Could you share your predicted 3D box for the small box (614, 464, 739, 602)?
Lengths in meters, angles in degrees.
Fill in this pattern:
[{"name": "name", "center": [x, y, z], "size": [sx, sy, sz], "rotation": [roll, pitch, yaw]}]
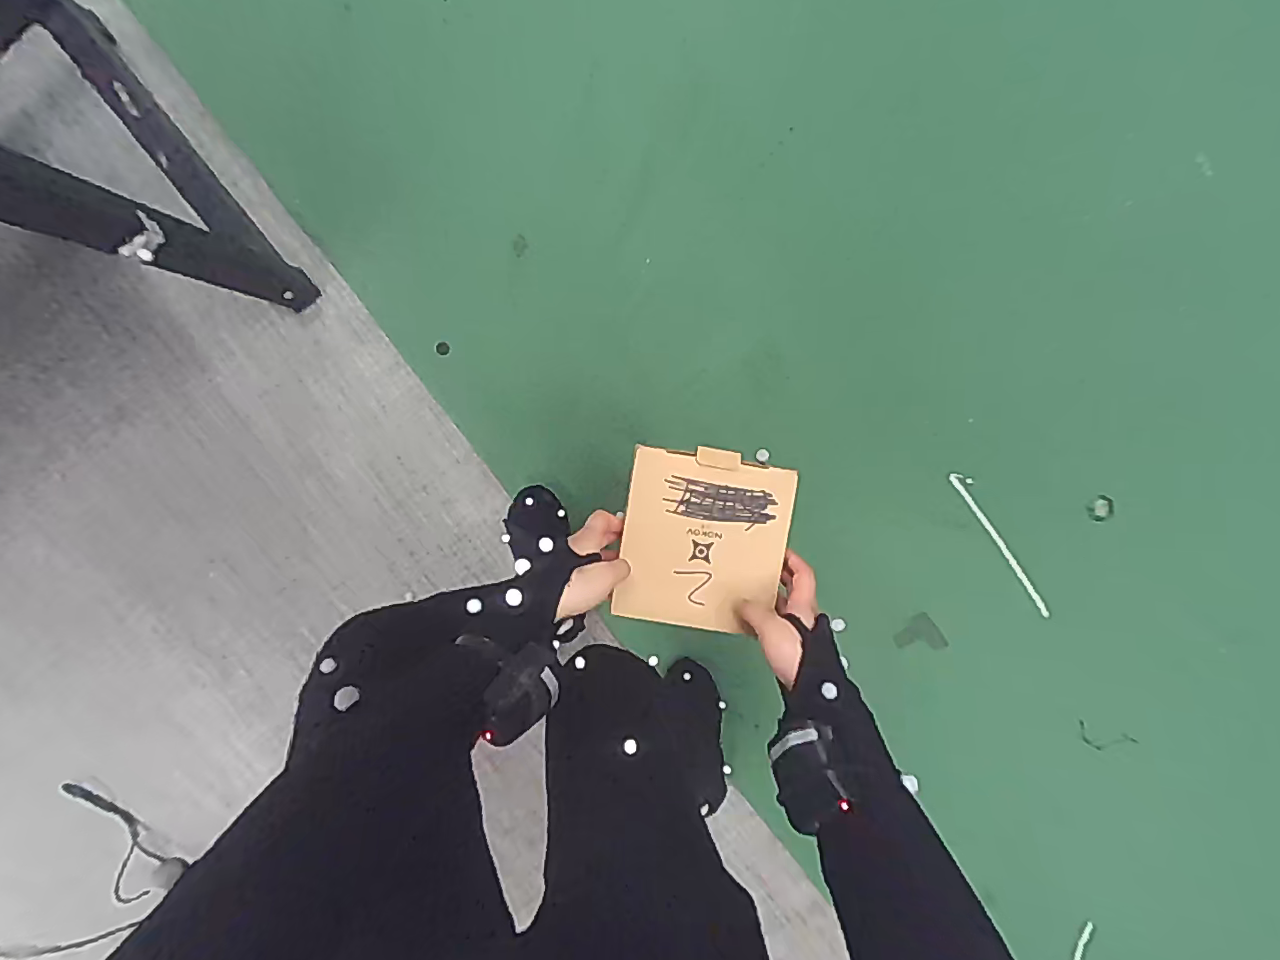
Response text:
[{"name": "small box", "center": [0.057, 0.077, 0.881], "size": [0.168, 0.176, 0.179], "rotation": [9, 97, 1]}]
